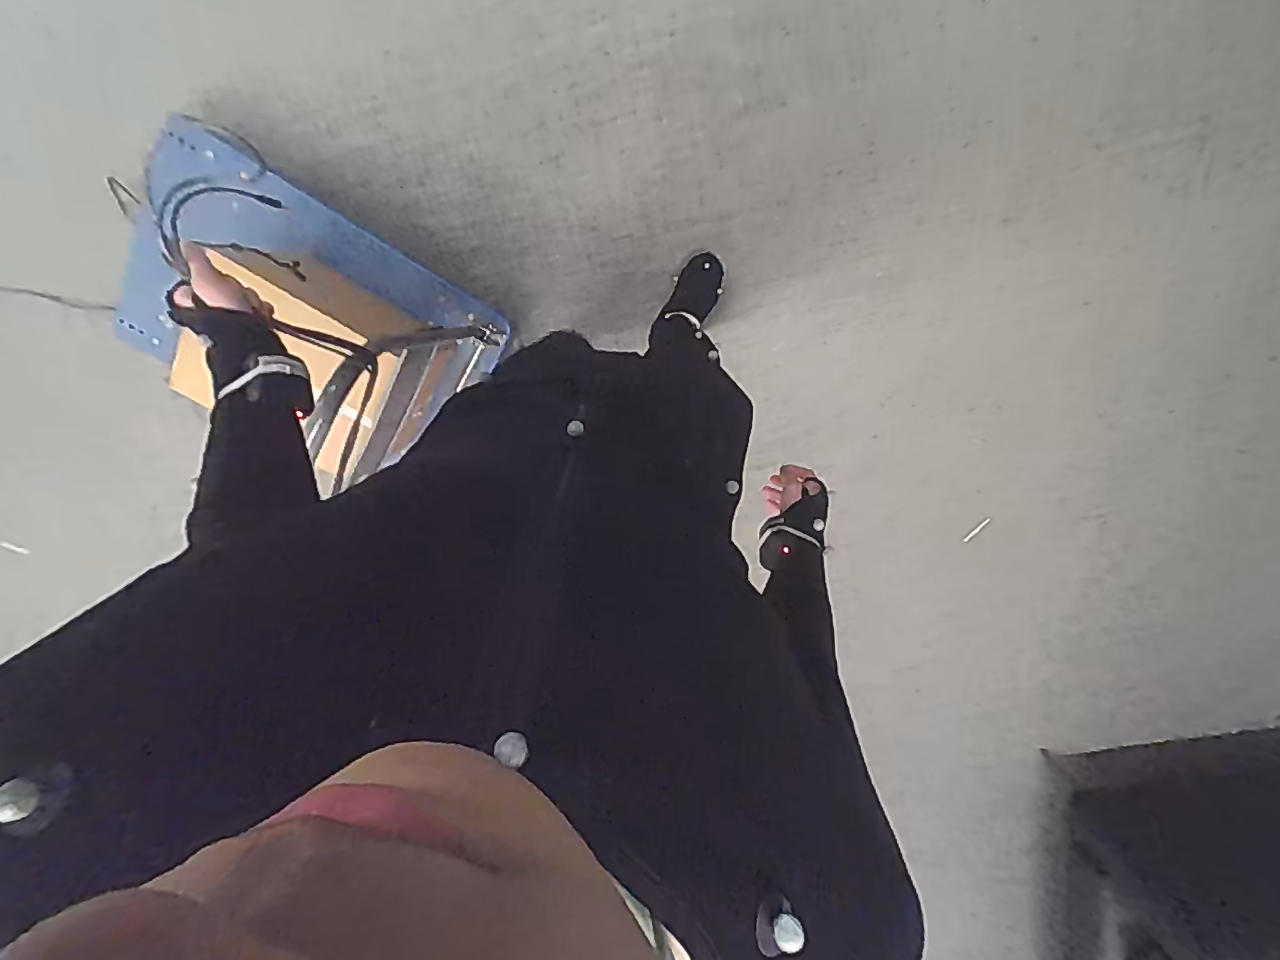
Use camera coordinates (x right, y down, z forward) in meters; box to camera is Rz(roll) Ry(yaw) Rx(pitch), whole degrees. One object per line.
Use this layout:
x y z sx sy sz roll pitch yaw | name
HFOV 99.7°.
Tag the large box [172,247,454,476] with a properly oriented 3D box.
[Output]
-0.707 -0.275 1.228 0.408 0.320 0.320 31 108 -9 | large box
